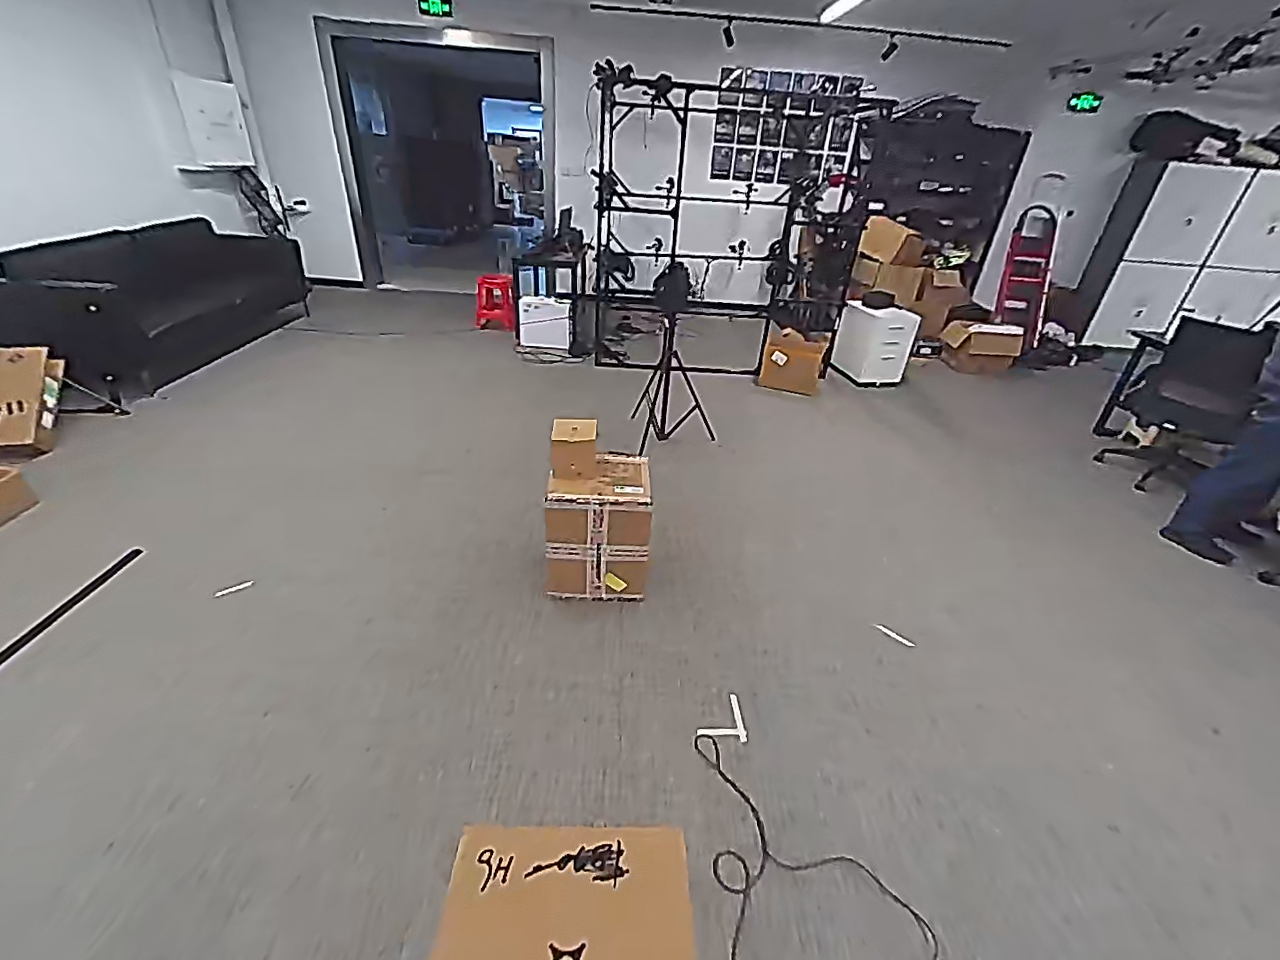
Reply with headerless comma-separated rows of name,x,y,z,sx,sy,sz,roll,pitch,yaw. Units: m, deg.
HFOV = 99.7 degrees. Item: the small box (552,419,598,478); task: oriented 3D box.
small box,-0.250,-0.125,2.099,0.168,0.176,0.179,-1,33,-3
